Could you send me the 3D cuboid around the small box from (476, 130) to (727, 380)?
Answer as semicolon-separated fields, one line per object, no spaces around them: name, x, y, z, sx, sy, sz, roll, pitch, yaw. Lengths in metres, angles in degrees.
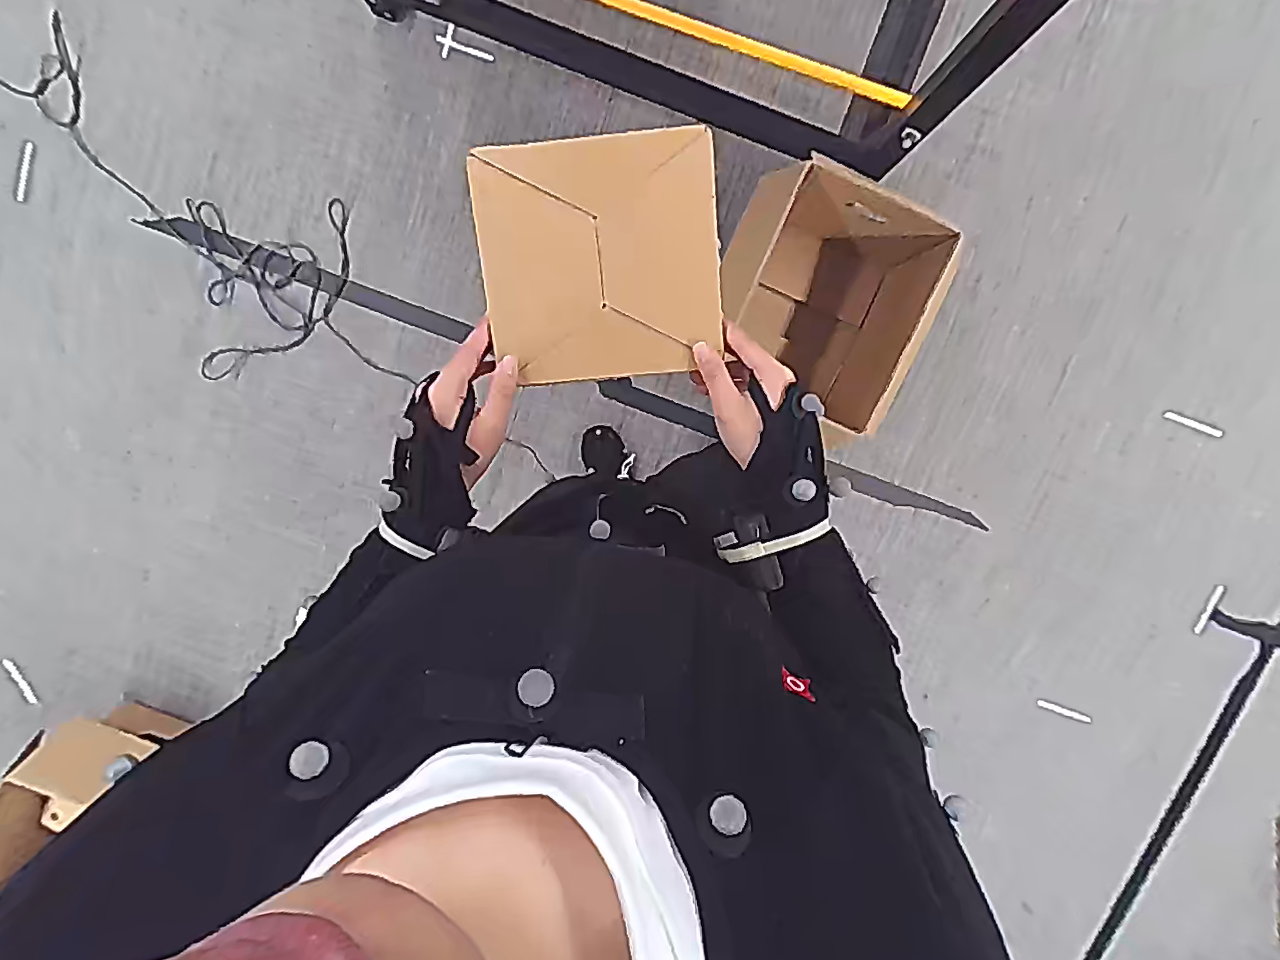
small box;-0.030;-0.178;0.473;0.179;0.176;0.168;-5;102;1
